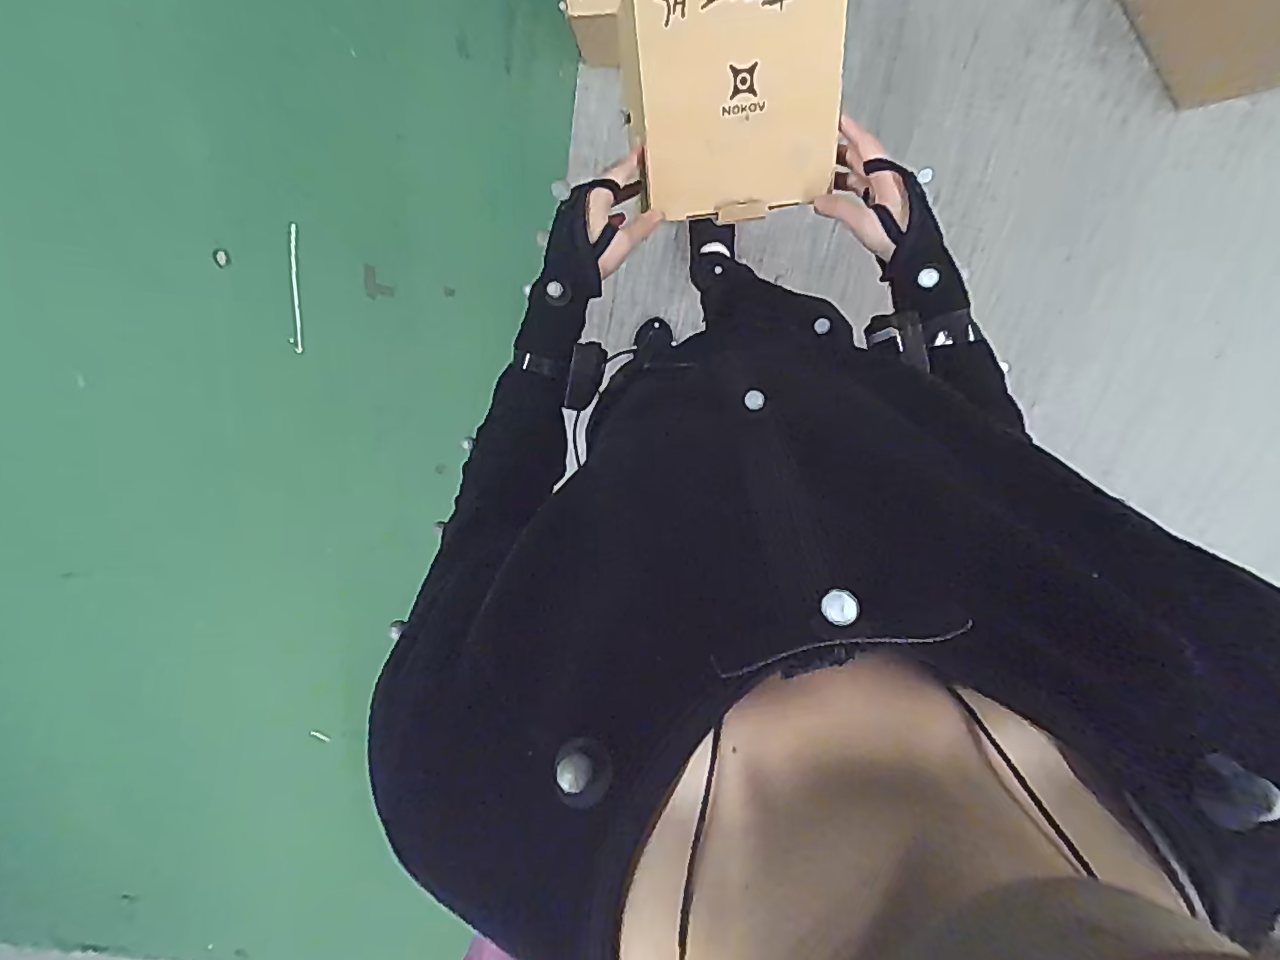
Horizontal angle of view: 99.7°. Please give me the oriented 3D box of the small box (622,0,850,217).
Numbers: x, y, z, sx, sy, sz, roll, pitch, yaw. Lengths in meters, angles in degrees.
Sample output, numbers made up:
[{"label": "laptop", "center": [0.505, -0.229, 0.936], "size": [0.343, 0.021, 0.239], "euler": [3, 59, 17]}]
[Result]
[{"label": "small box", "center": [0.076, -0.357, 0.502], "size": [0.168, 0.176, 0.179], "euler": [-8, 121, -2]}]

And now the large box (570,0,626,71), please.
[{"label": "large box", "center": [0.078, -0.986, 0.981], "size": [0.408, 0.320, 0.320], "euler": [-3, 113, 4]}]
